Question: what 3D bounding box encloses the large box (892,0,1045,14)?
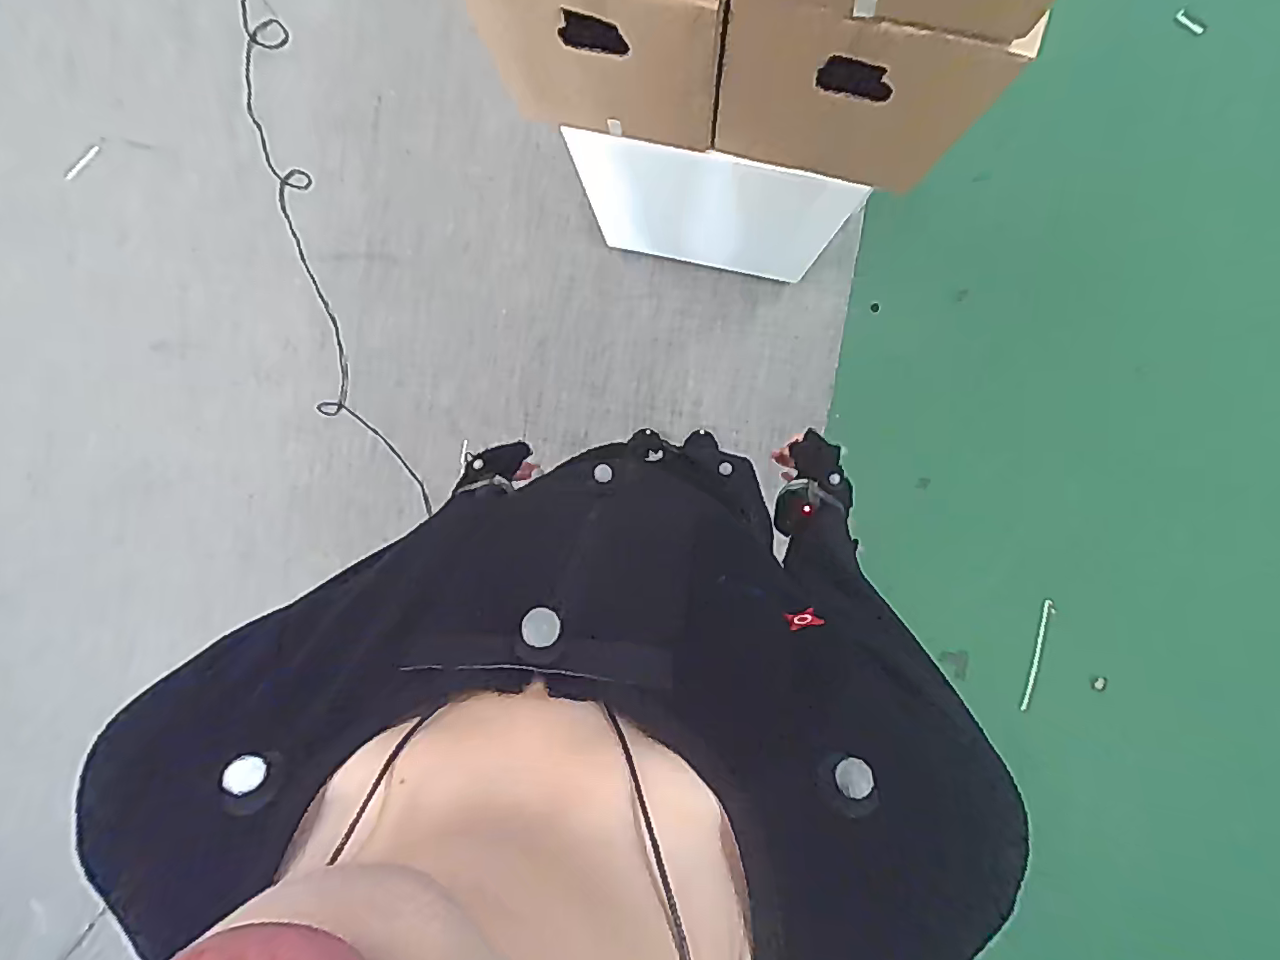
[{"bbox_3d":[0.247,-0.647,0.362,0.320,0.320,0.408,14,95,5],"label":"large box"}]
